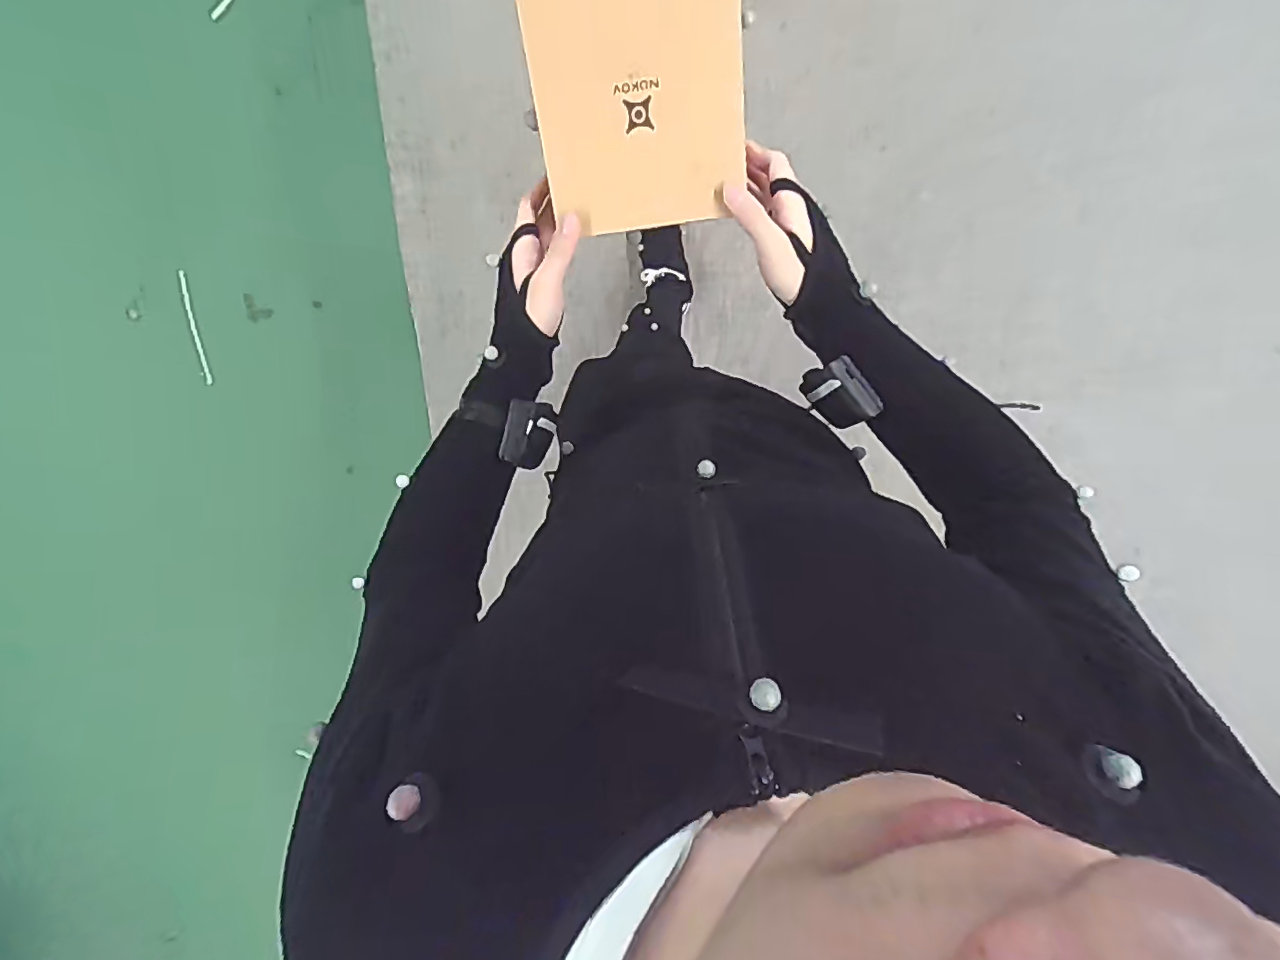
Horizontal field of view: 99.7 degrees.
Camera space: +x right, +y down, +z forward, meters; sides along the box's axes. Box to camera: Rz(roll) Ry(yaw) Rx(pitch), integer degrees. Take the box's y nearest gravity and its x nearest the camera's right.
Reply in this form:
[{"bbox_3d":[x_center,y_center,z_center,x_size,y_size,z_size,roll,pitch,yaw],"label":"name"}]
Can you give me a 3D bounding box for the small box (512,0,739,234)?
[{"bbox_3d":[0.000,-0.331,0.491,0.168,0.176,0.179,-4,115,7],"label":"small box"}]
